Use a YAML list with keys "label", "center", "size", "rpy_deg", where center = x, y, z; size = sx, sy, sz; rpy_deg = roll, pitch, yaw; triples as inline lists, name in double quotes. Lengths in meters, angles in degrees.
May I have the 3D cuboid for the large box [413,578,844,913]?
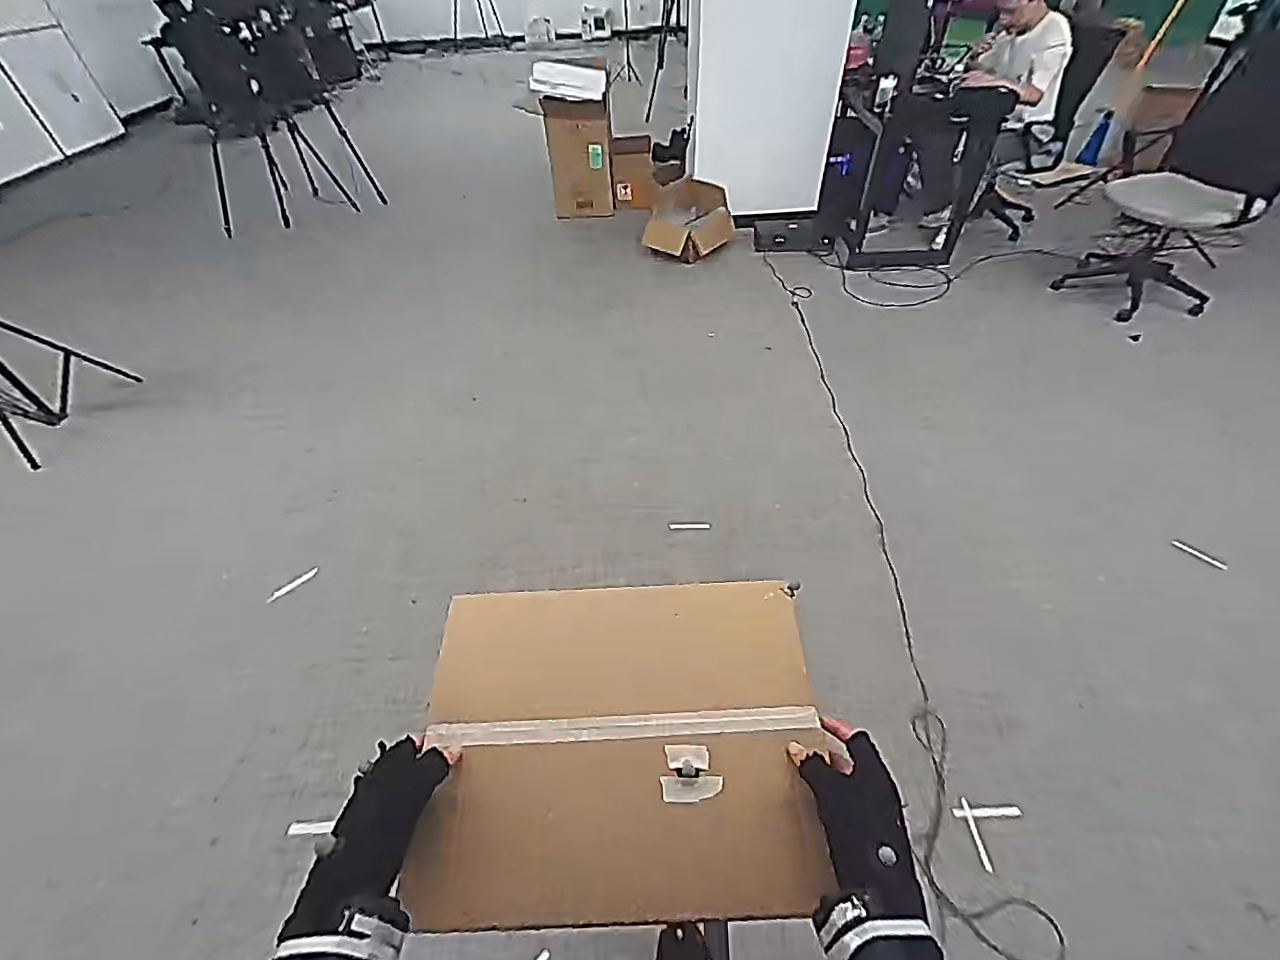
- label: "large box"
  center: [-0.015, 0.344, 0.696]
  size: [0.408, 0.320, 0.320]
  rpy_deg: [-3, 53, 0]
